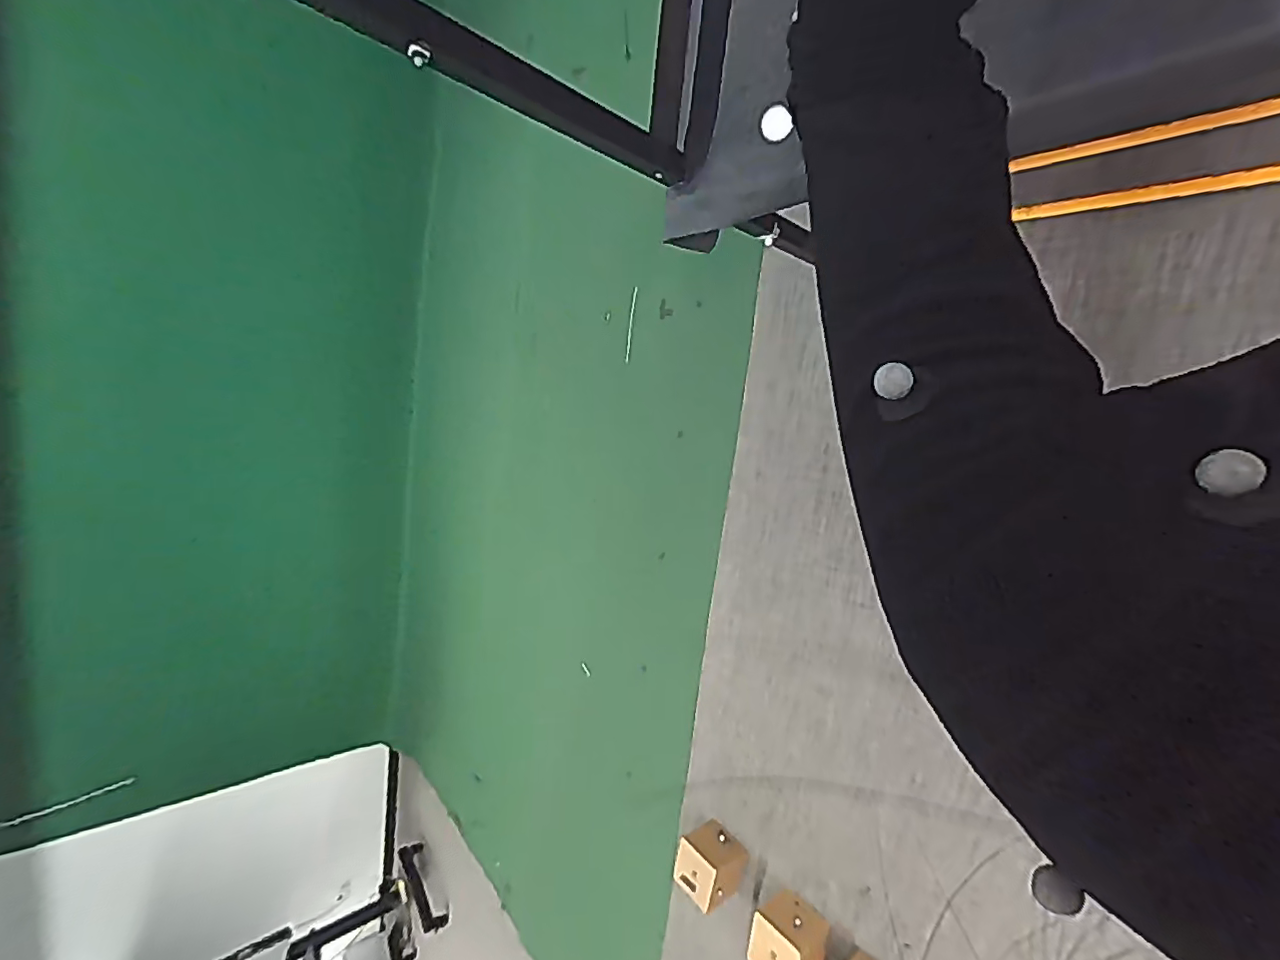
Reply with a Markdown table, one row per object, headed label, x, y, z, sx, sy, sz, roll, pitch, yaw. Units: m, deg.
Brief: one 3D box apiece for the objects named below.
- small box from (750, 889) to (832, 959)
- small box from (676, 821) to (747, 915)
| label | x | y | z | sx | sy | sz | roll | pitch | yaw |
| --- | --- | --- | --- | --- | --- | --- | --- | --- | --- |
| small box | 0.463 | 1.410 | 1.646 | 0.168 | 0.176 | 0.179 | 15 | 102 | 48 |
| small box | 0.252 | 1.344 | 1.885 | 0.168 | 0.176 | 0.179 | 21 | 104 | 47 |
